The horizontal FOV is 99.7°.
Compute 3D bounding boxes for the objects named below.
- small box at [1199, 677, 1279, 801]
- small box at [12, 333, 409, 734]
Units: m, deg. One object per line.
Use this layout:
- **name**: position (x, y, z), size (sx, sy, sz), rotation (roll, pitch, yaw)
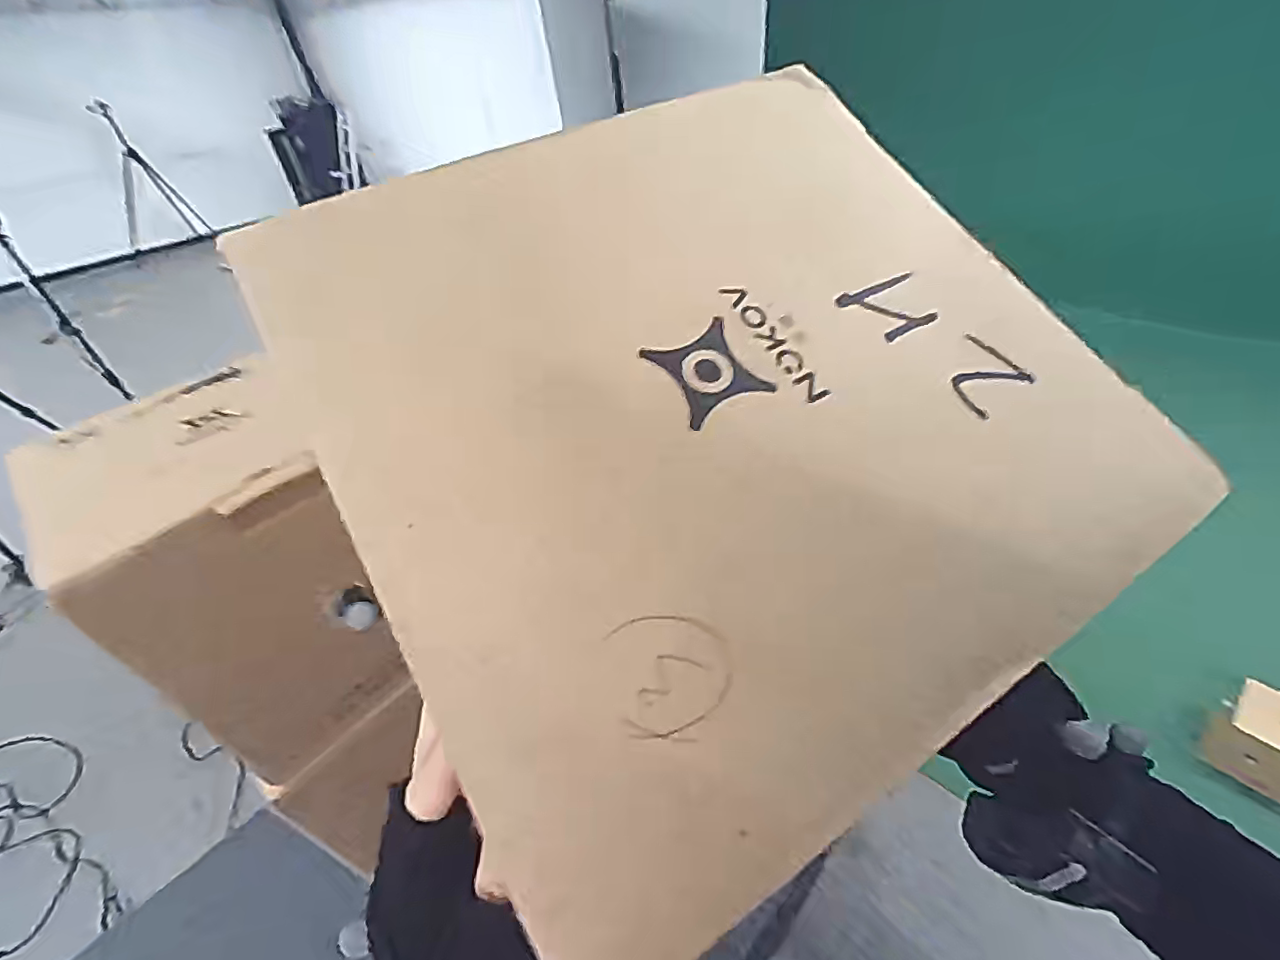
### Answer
- **small box**: position (1.490, 0.618, 1.286), size (0.179, 0.176, 0.168), rotation (-32, 44, -29)
- **small box**: position (-0.223, 0.027, 0.345), size (0.179, 0.176, 0.168), rotation (25, 49, 35)
